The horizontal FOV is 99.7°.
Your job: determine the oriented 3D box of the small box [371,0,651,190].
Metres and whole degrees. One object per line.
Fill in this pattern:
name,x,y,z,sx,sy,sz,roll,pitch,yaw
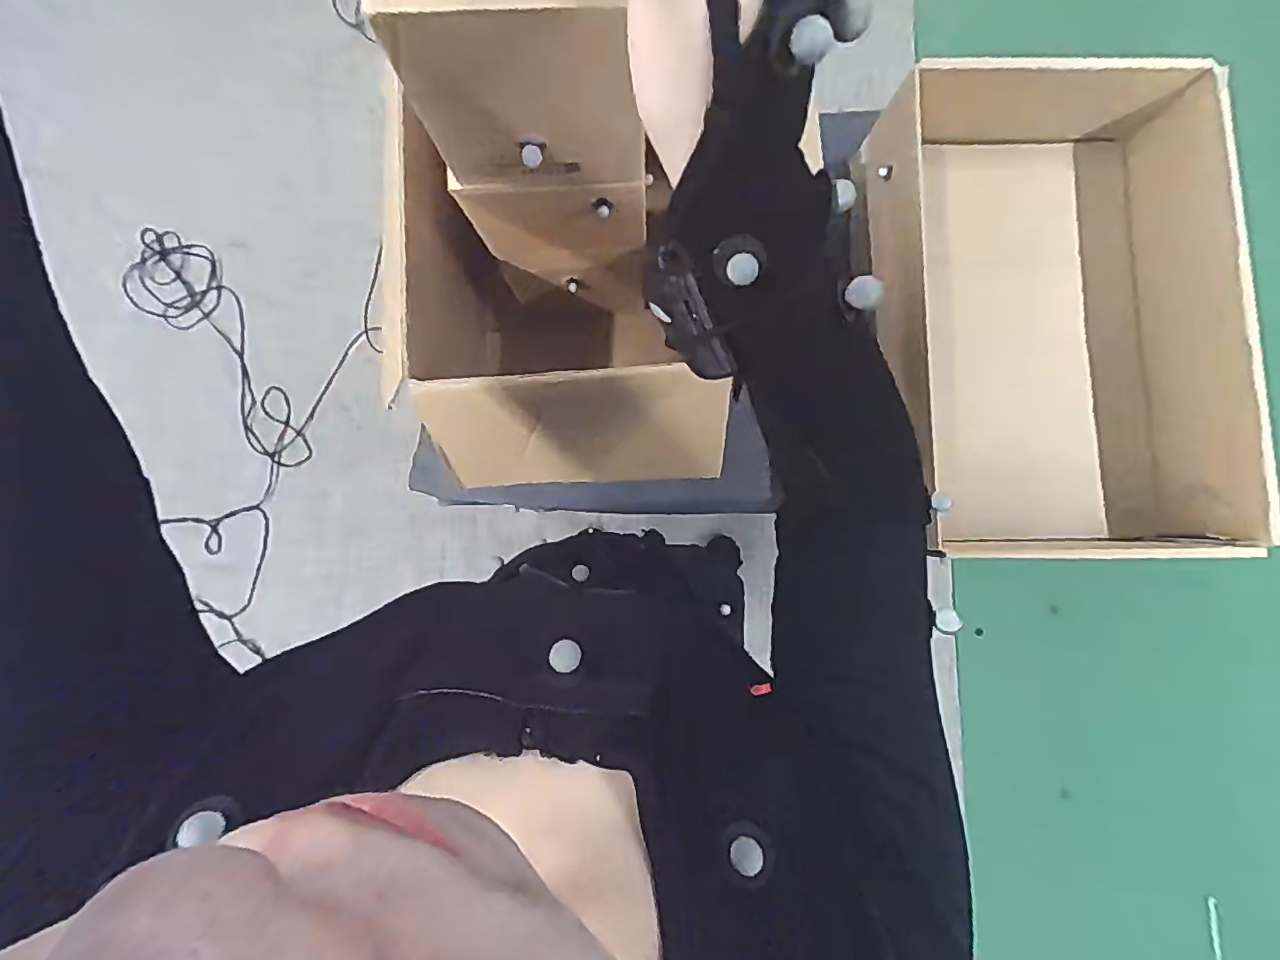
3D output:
small box,-0.077,-0.348,0.401,0.168,0.176,0.179,-1,88,0
